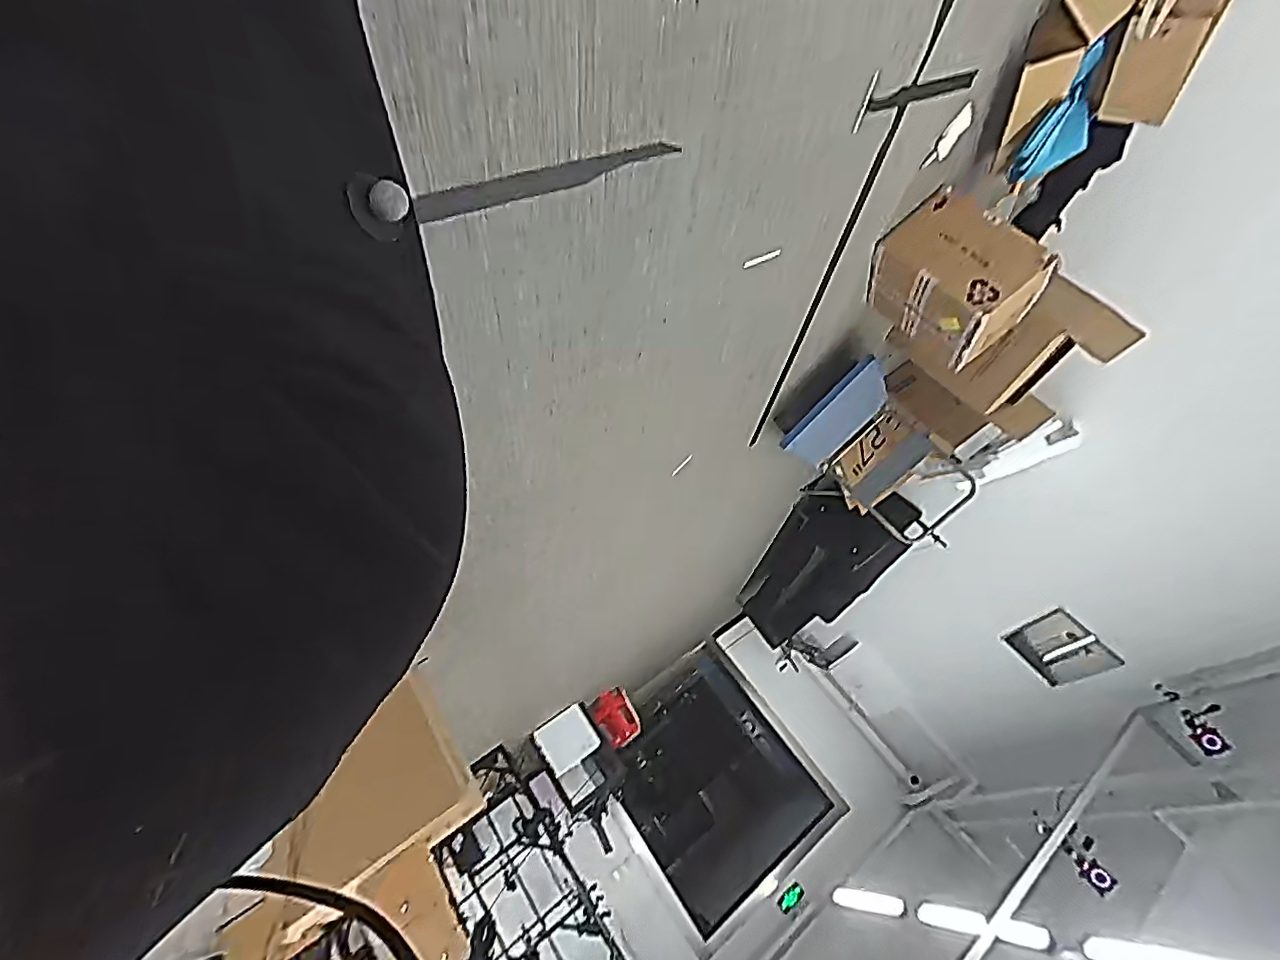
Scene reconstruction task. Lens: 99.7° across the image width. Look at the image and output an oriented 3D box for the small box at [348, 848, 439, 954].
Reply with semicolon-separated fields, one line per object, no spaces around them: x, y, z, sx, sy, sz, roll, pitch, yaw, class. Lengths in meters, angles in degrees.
-0.717;1.209;1.567;0.179;0.176;0.168;-31;155;-23;small box
